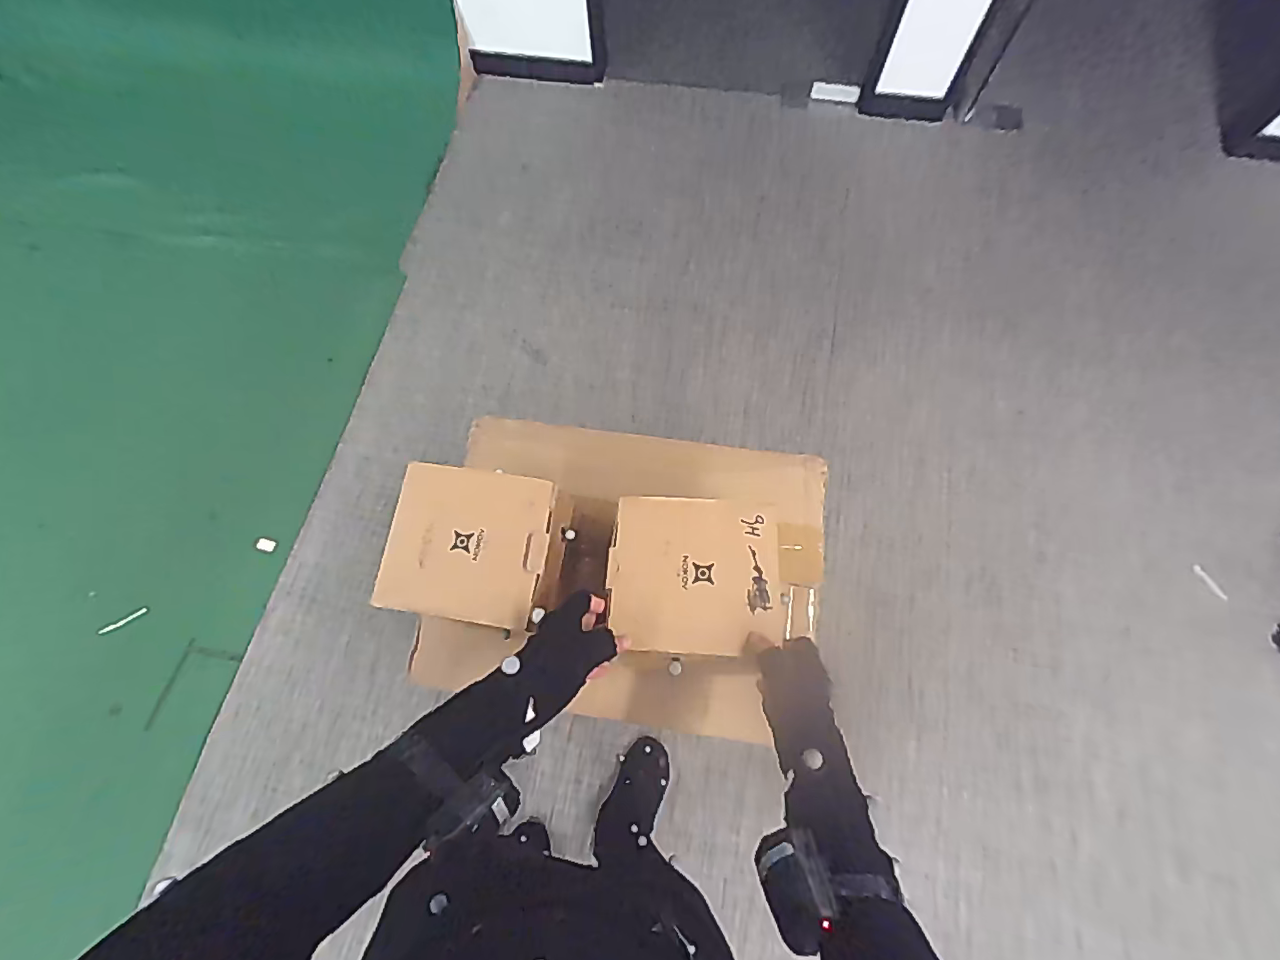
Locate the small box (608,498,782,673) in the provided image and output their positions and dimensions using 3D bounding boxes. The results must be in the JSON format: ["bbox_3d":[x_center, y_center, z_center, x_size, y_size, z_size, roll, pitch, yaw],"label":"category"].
[{"bbox_3d":[0.064,0.131,0.640,0.179,0.176,0.168,3,65,4],"label":"small box"}]

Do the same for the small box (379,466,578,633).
[{"bbox_3d":[-0.181,0.094,0.671,0.179,0.176,0.168,7,74,5],"label":"small box"}]
